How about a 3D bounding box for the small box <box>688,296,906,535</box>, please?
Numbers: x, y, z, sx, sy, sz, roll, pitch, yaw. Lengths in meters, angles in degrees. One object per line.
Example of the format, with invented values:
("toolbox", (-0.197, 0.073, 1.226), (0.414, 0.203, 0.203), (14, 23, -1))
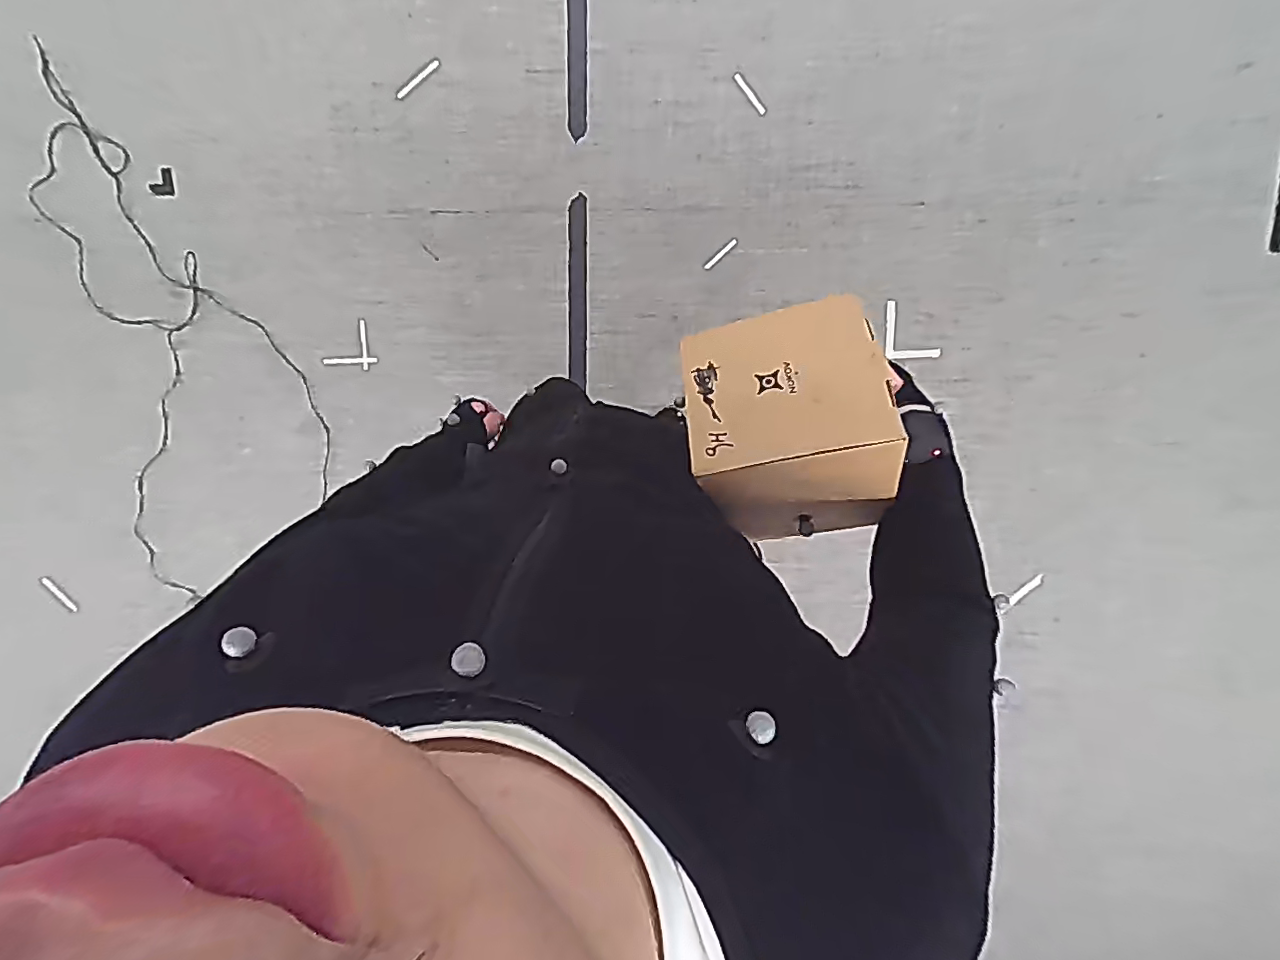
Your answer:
("small box", (0.156, -0.056, 0.566), (0.179, 0.176, 0.168), (-10, 59, 14))
